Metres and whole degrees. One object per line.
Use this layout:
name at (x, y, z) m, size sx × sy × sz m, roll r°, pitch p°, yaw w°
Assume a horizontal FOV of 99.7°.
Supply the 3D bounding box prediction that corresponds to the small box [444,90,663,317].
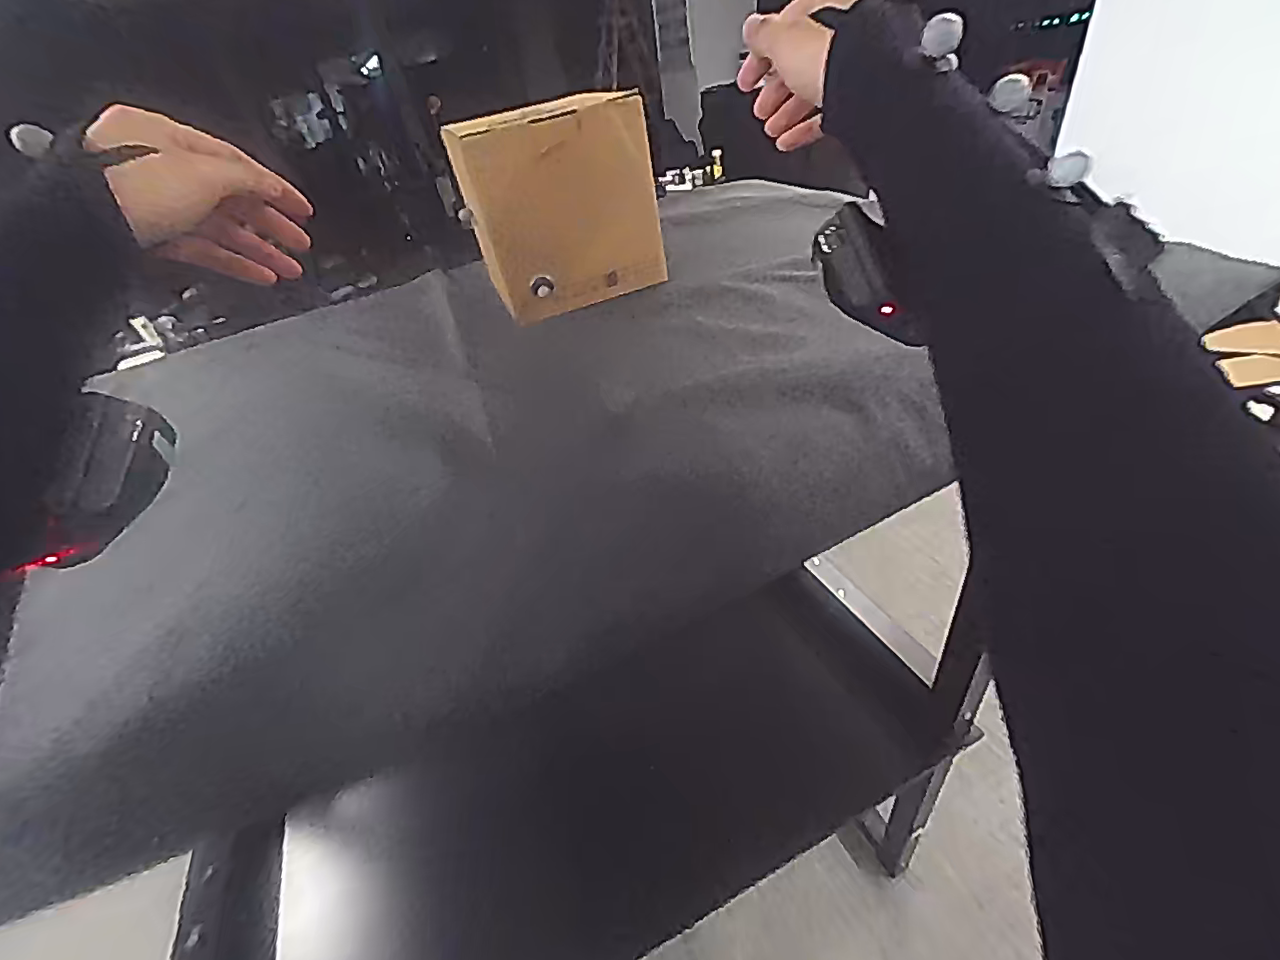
small box at (-0.088, -0.289, 0.569) m, size 0.168 × 0.176 × 0.179 m, roll -21°, pitch 38°, yaw -11°
